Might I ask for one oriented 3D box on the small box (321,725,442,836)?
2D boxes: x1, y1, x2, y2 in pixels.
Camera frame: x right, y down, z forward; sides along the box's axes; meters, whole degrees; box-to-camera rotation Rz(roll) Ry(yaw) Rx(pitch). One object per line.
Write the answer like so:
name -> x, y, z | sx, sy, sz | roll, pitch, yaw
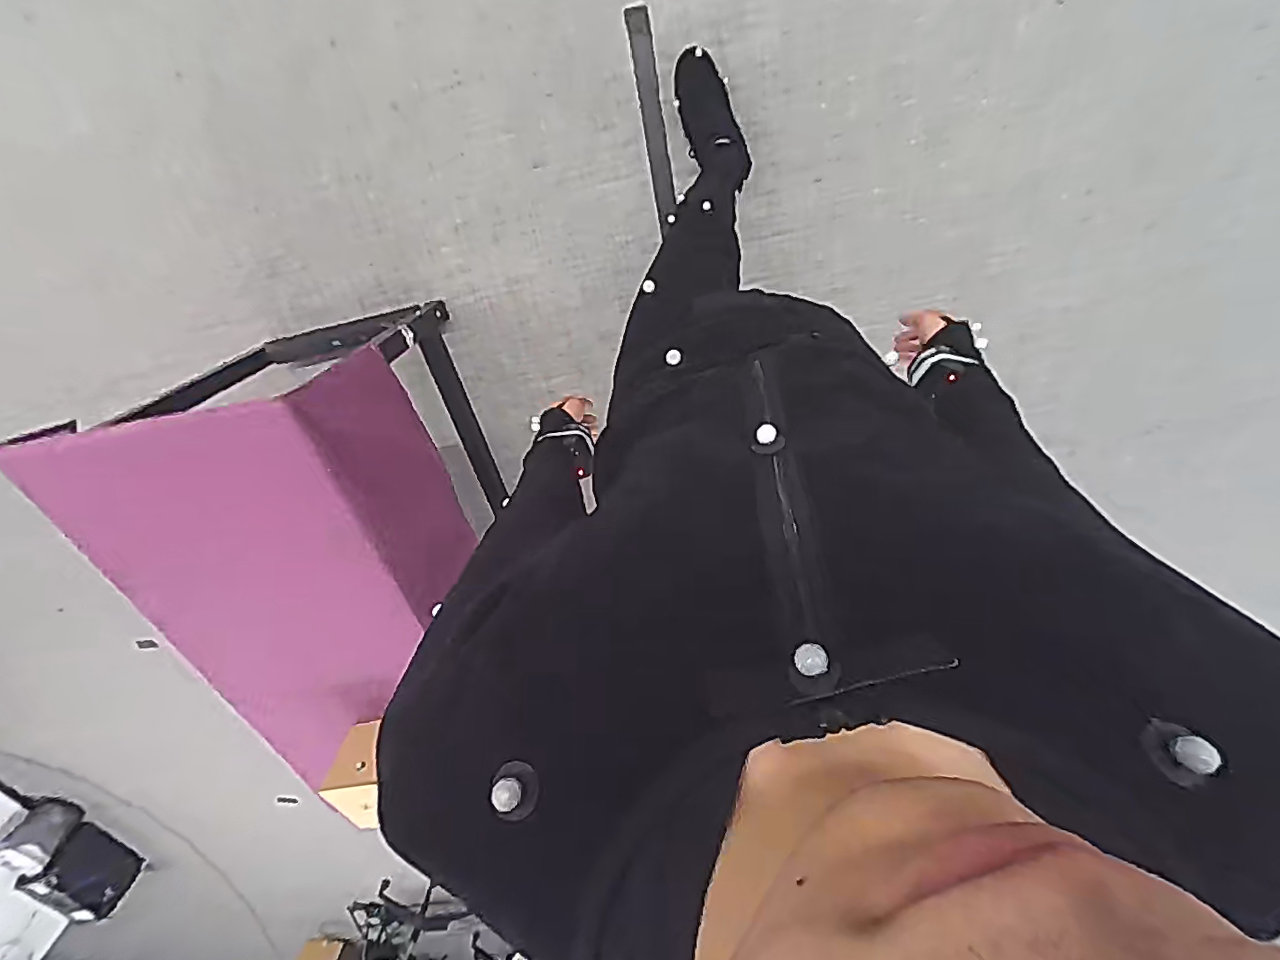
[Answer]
small box -> -0.598, 0.708, 1.284 | 0.179, 0.176, 0.168 | -17, 119, 15
